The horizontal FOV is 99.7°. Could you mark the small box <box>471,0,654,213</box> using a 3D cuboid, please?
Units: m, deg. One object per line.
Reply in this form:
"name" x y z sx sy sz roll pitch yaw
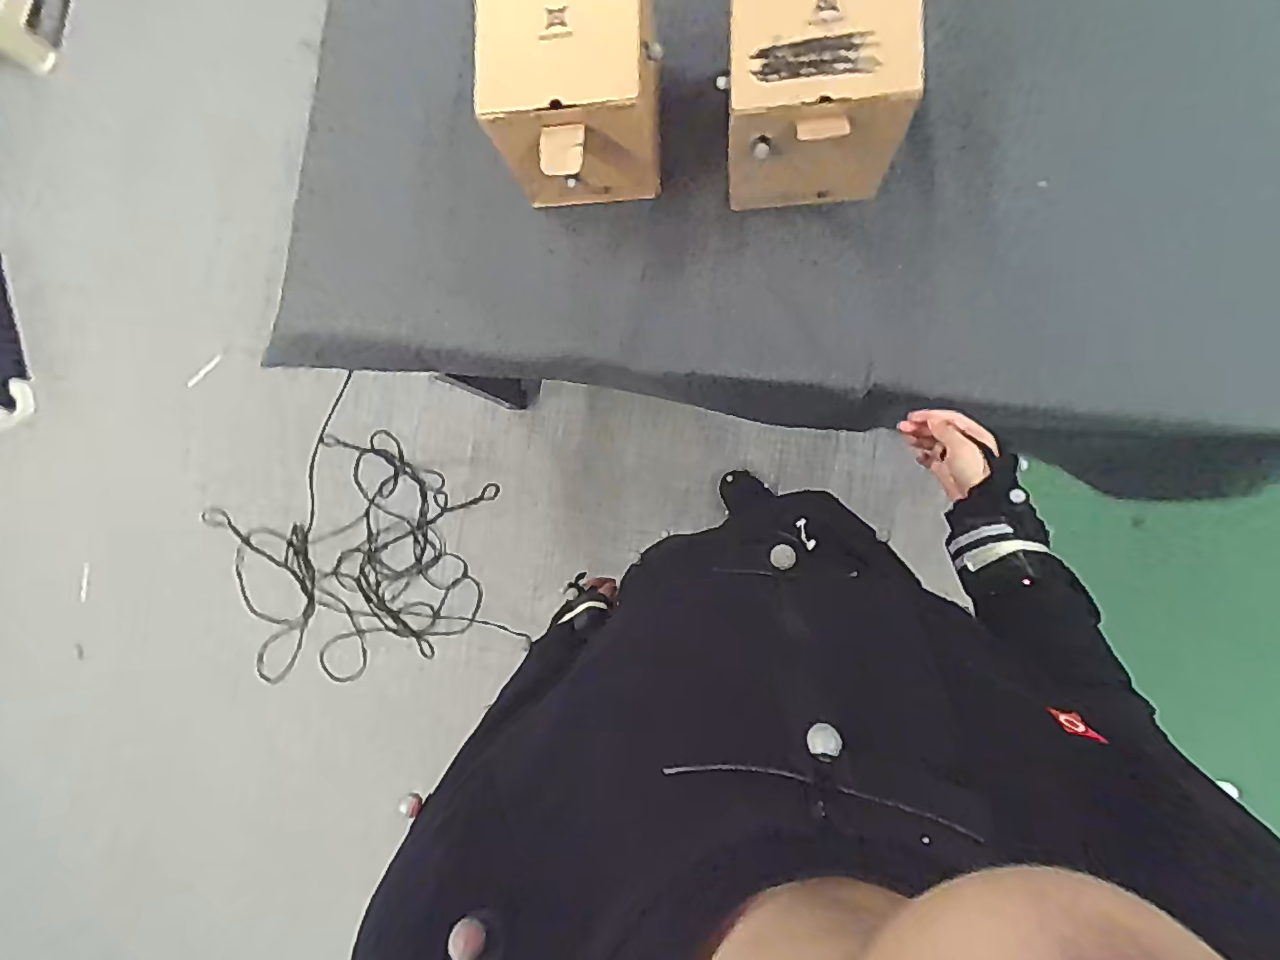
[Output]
"small box" -0.076 -0.432 0.606 0.168 0.176 0.179 -2 88 8
